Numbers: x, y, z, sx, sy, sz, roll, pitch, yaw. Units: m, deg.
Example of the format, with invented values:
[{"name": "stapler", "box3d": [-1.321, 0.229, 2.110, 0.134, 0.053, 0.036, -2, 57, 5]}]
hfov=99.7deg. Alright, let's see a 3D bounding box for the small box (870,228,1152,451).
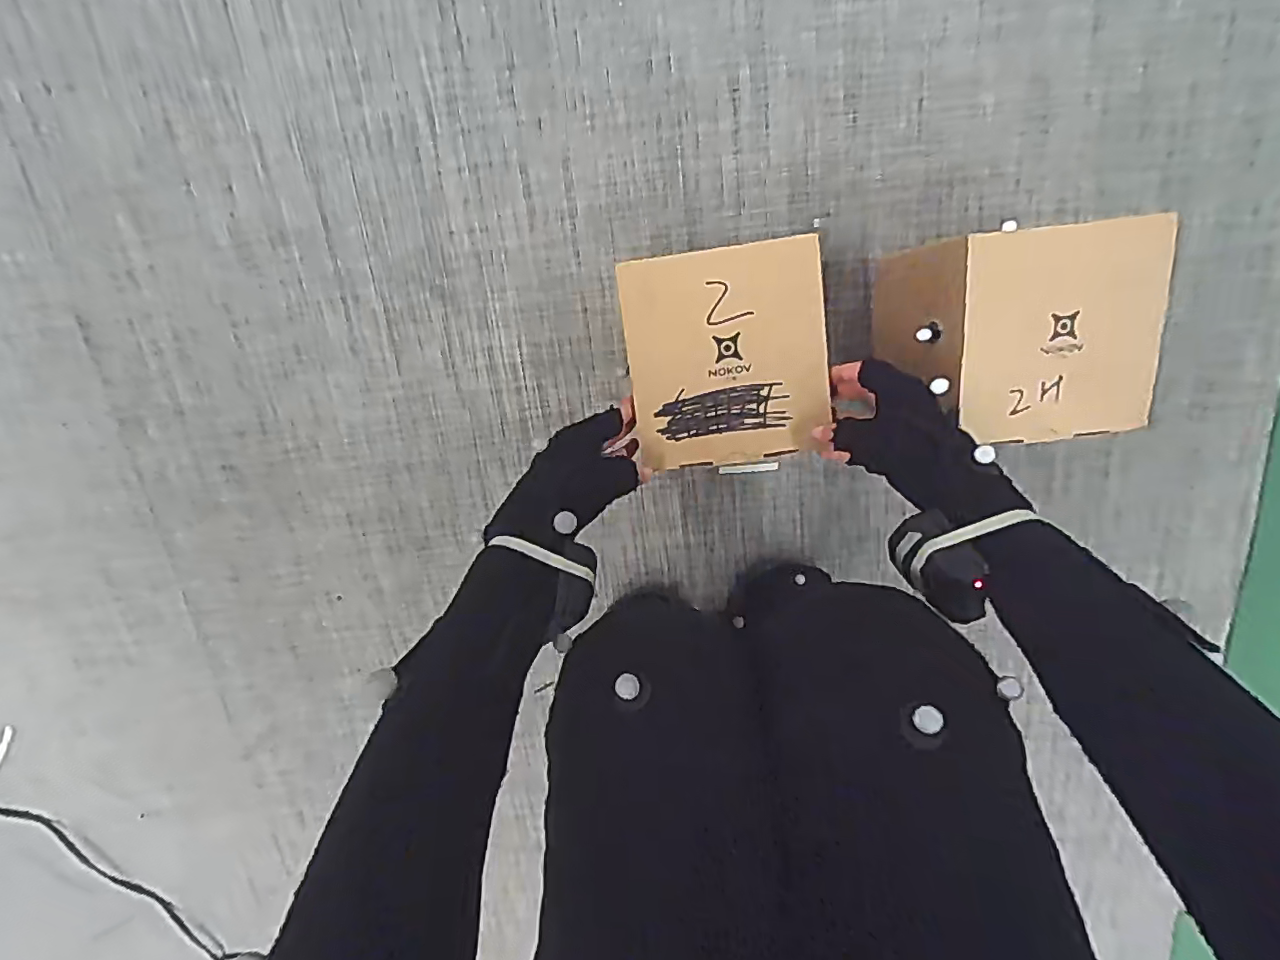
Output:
[{"name": "small box", "box3d": [0.343, -0.136, 0.540, 0.168, 0.176, 0.179, -5, 106, 3]}]
